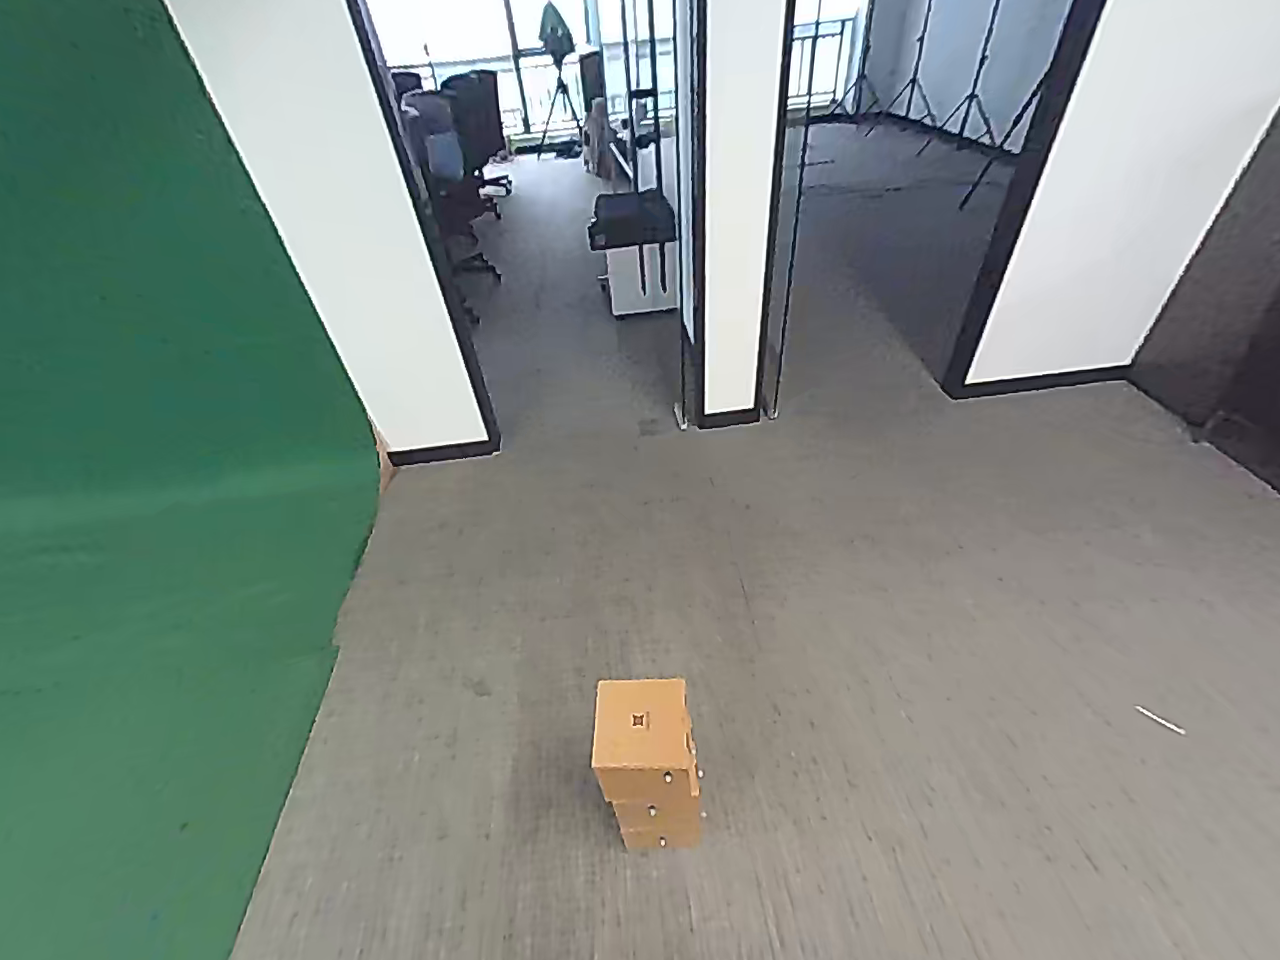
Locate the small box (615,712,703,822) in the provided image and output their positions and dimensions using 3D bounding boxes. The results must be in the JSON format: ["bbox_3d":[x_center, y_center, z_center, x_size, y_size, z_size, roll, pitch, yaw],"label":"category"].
[{"bbox_3d":[0.041,0.629,1.181,0.179,0.176,0.168,-5,43,2],"label":"small box"}]

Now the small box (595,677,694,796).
[{"bbox_3d":[0.014,0.510,1.072,0.179,0.176,0.168,-3,42,4],"label":"small box"}]
